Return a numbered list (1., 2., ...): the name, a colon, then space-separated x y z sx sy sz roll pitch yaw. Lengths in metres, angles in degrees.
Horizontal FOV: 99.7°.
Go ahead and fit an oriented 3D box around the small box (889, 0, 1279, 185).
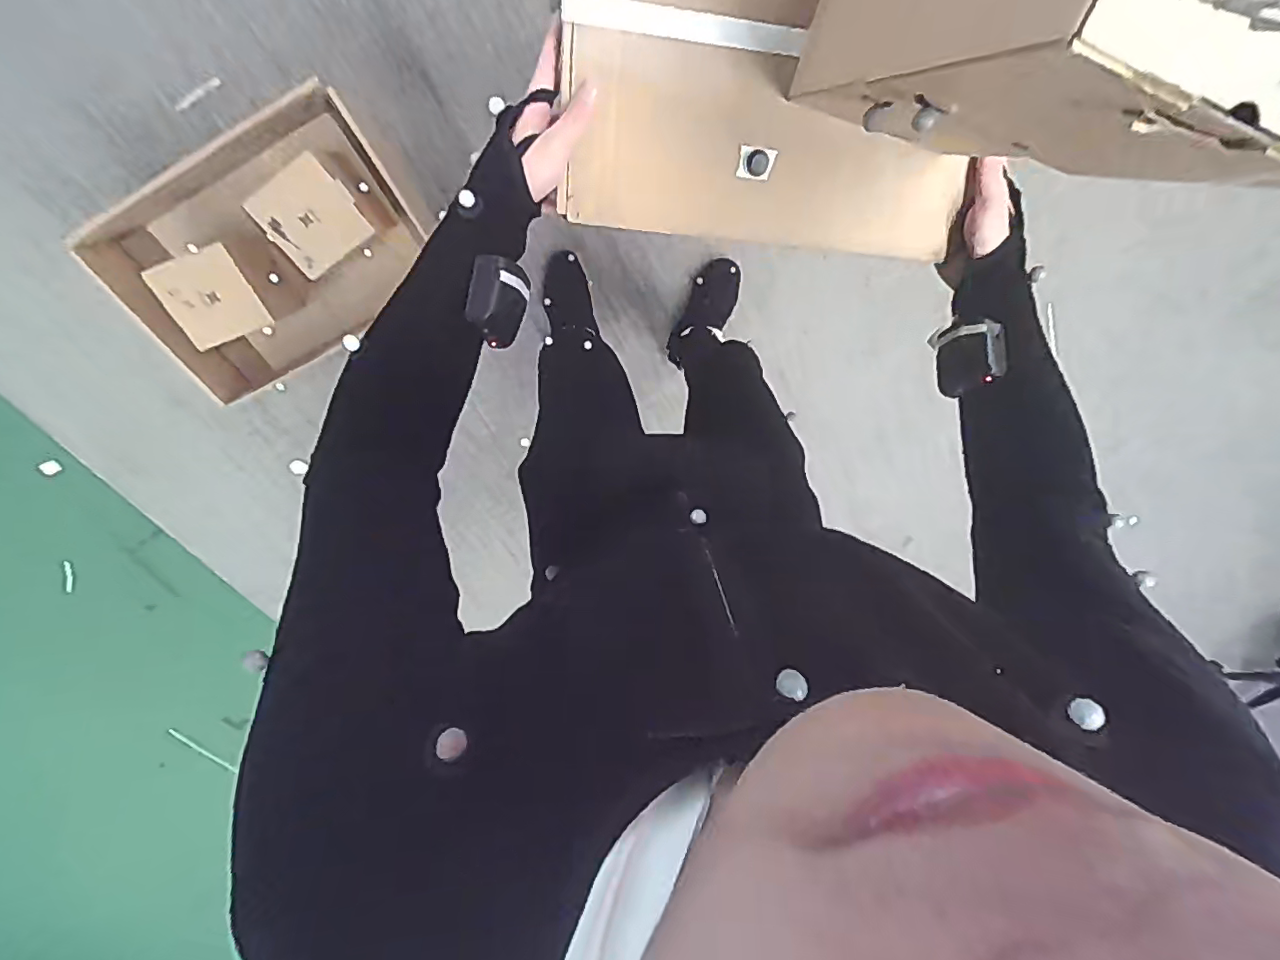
1. small box: 0.237 -0.238 0.223 0.168 0.176 0.179 12 118 -13
